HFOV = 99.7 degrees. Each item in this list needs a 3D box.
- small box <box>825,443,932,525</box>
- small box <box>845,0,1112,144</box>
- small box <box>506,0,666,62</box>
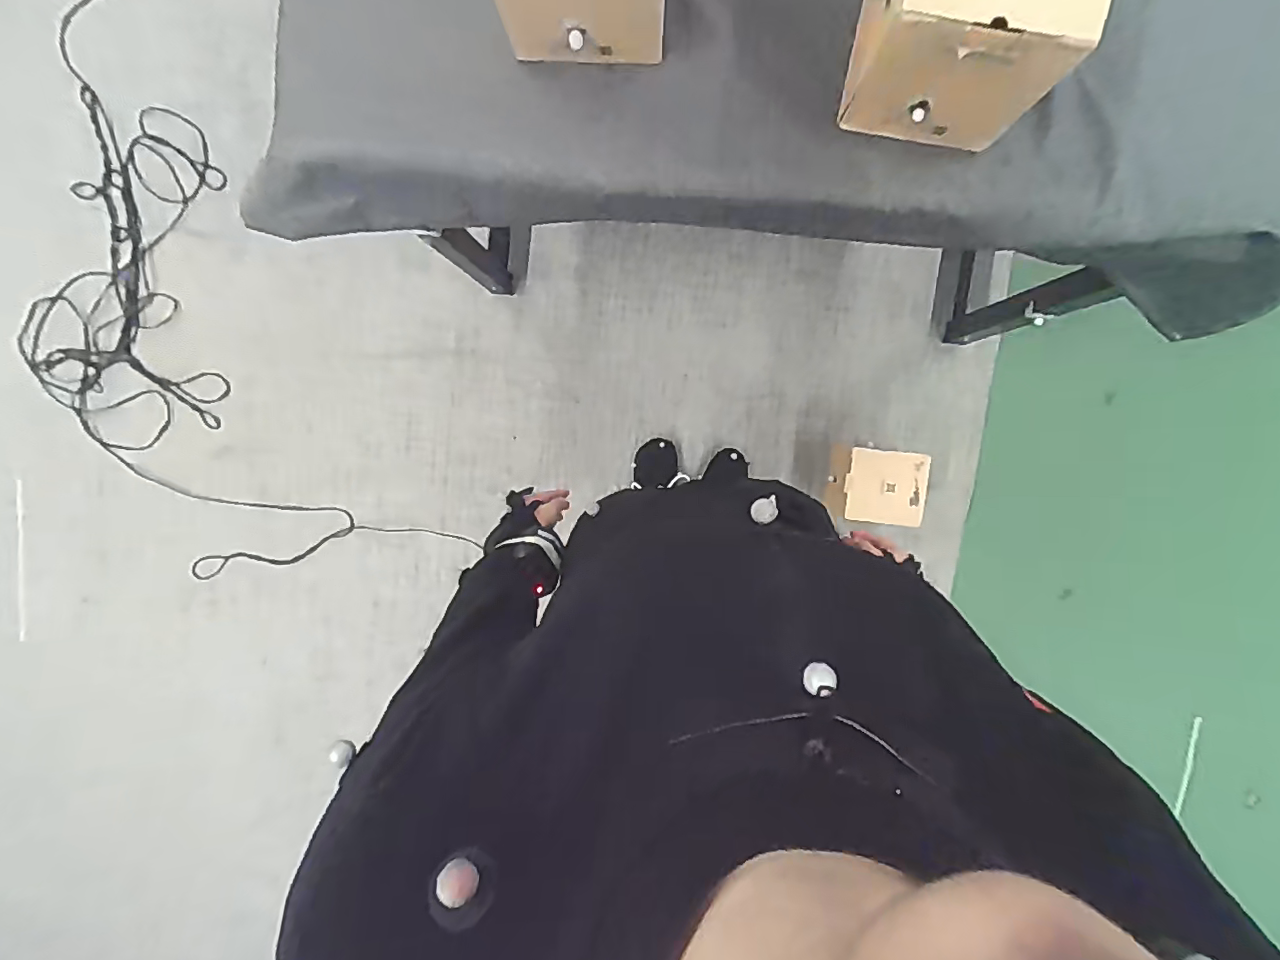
[{"bbox_3d":[0.550,0.005,1.273,0.179,0.176,0.168,6,94,3],"label":"small box"},{"bbox_3d":[0.314,-0.464,0.513,0.168,0.176,0.179,11,95,2],"label":"small box"},{"bbox_3d":[-0.054,-0.556,0.522,0.168,0.176,0.179,3,96,3],"label":"small box"}]
